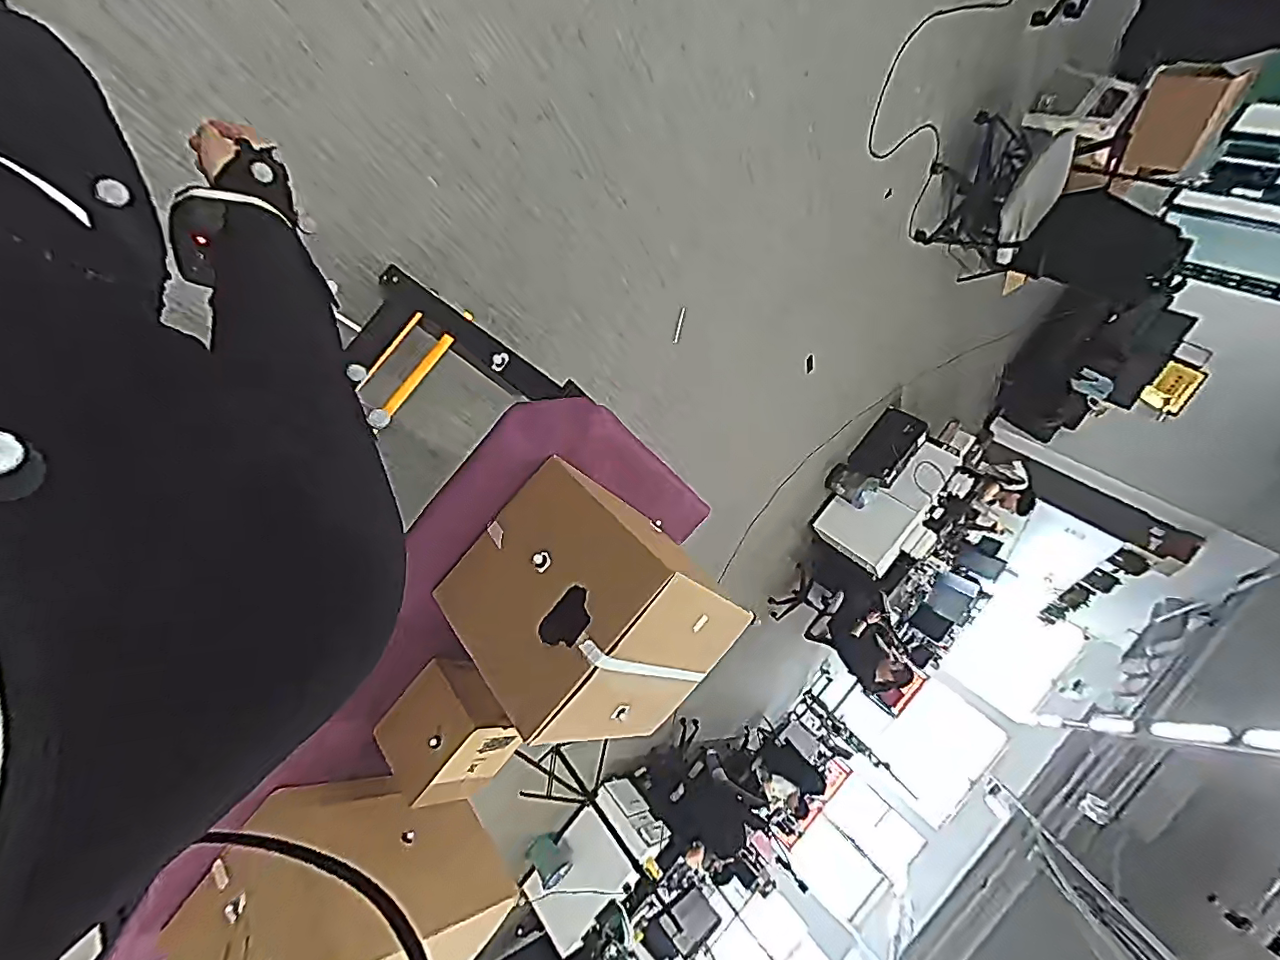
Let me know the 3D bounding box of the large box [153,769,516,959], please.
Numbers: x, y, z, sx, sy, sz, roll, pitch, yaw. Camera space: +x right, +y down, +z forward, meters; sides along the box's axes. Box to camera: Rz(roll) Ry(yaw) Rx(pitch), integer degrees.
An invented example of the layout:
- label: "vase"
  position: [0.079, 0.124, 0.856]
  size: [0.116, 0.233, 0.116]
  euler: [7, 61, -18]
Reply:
- label: "large box"
  position: [-0.513, 0.767, 0.955]
  size: [0.320, 0.320, 0.408]
  euler: [-51, 148, 0]
